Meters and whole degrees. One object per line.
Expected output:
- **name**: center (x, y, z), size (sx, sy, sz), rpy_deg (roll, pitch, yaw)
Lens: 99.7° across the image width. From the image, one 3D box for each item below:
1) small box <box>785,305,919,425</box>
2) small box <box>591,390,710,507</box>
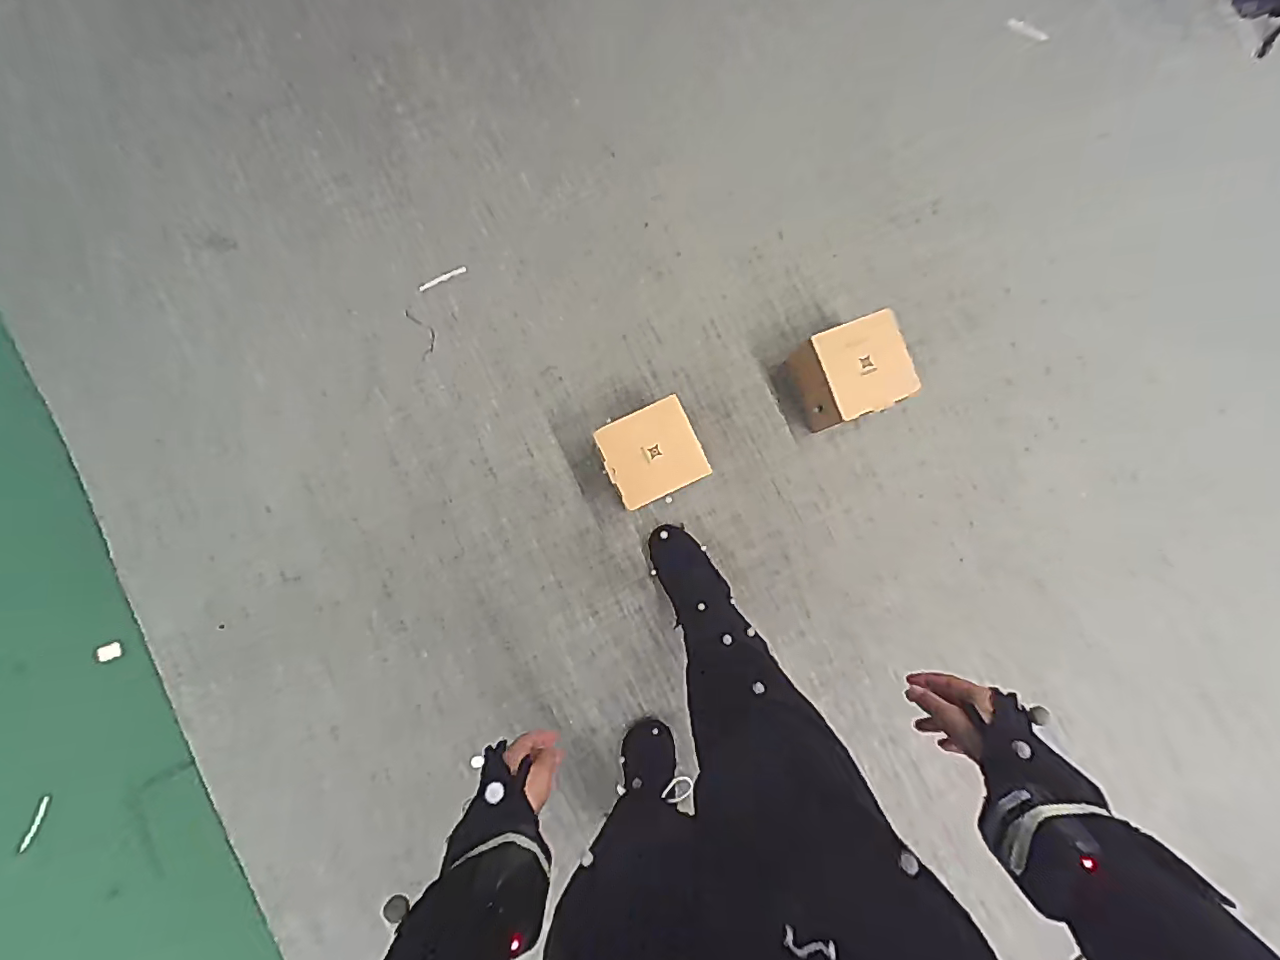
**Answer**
- **small box**: center (0.416, -0.219, 1.088), size (0.168, 0.176, 0.179), rpy_deg (-21, 88, -3)
- **small box**: center (0.016, -0.058, 1.072), size (0.179, 0.176, 0.168), rpy_deg (-25, 89, -2)
